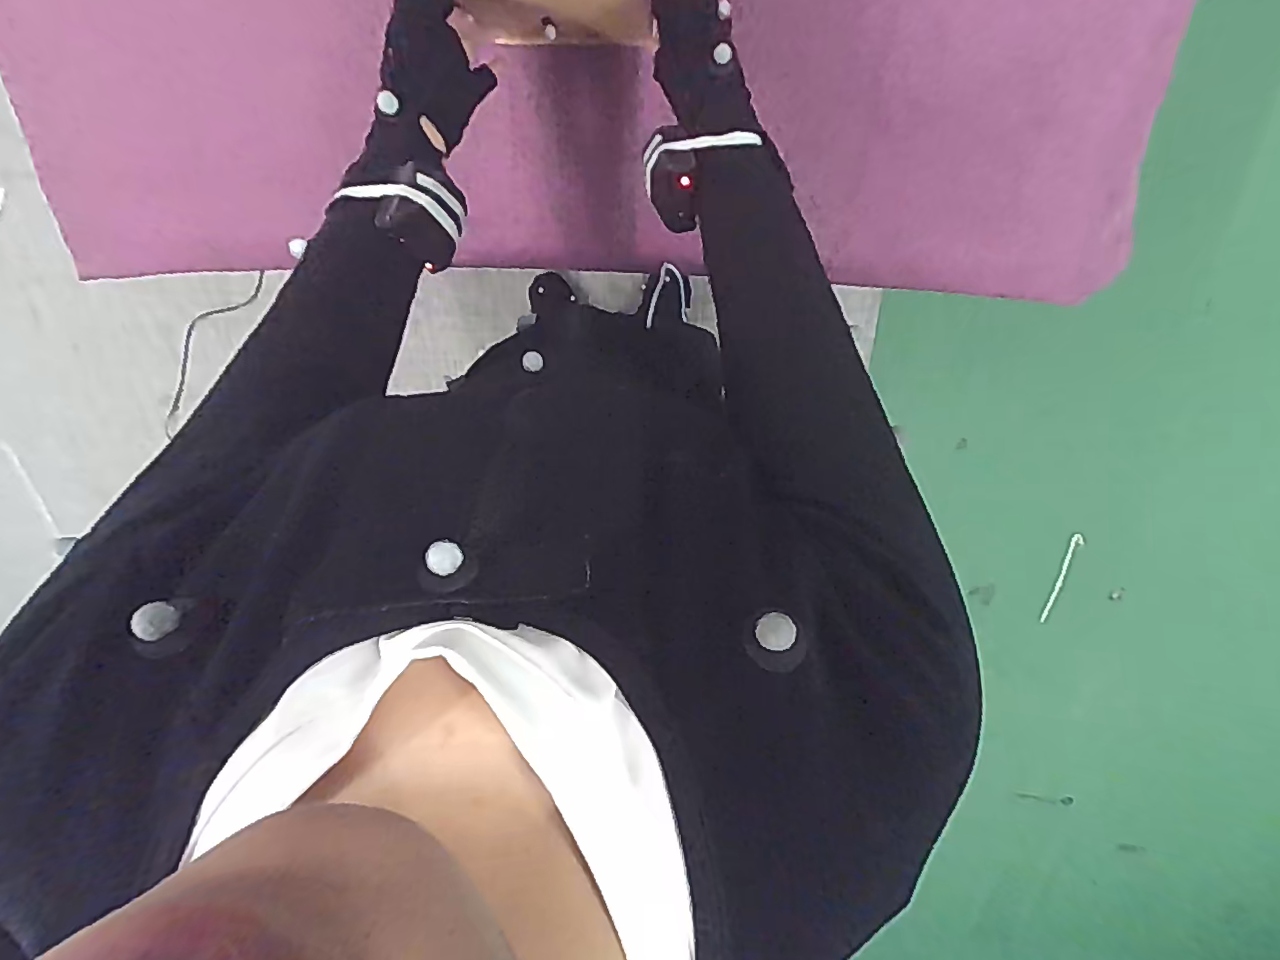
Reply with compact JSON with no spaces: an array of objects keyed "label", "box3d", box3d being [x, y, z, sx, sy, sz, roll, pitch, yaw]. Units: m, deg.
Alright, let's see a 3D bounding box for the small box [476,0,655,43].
[{"label":"small box","box3d":[-0.070,-0.495,0.444,0.168,0.176,0.179,3,116,3]}]
